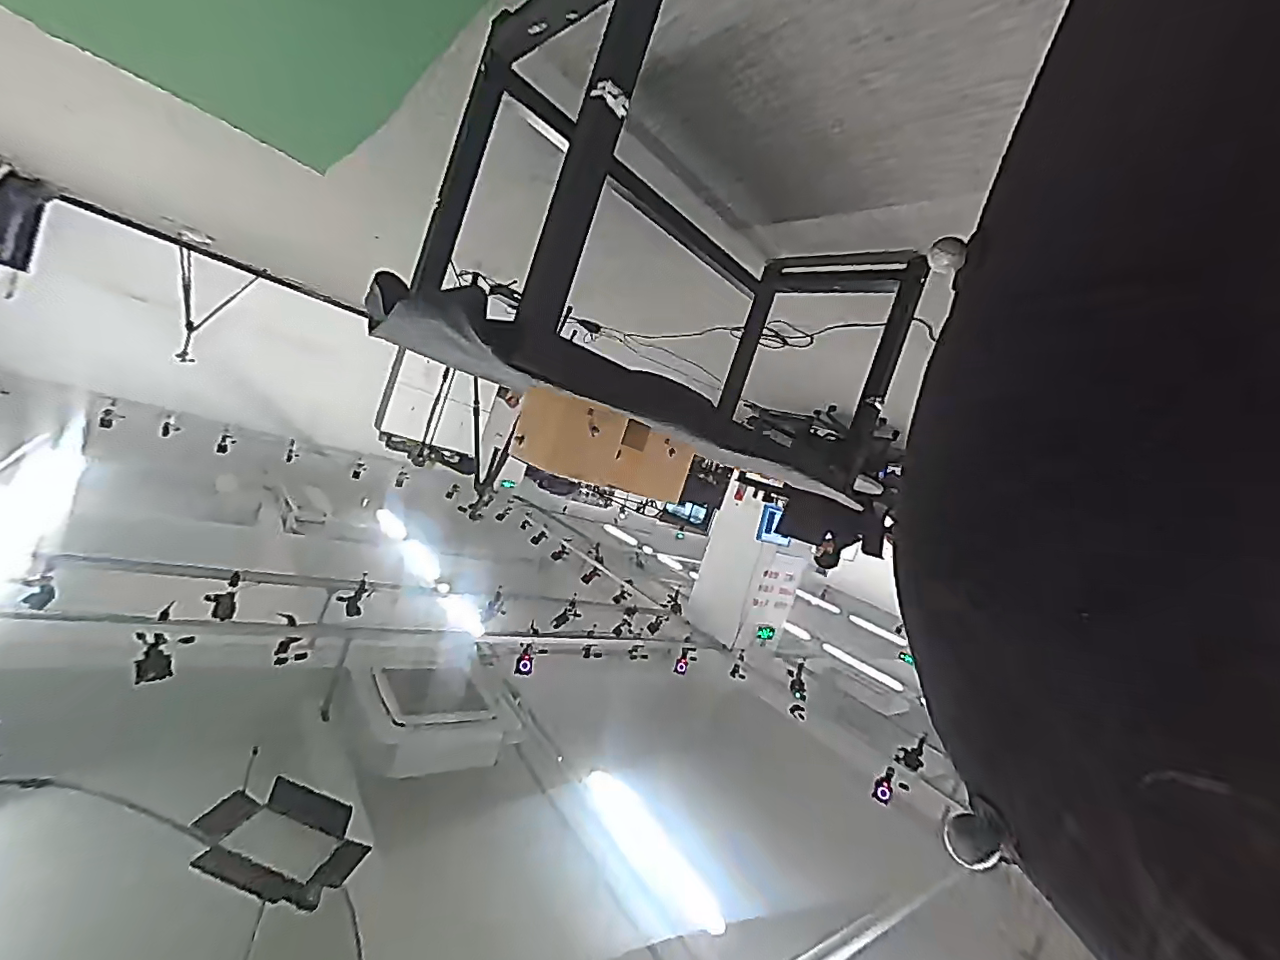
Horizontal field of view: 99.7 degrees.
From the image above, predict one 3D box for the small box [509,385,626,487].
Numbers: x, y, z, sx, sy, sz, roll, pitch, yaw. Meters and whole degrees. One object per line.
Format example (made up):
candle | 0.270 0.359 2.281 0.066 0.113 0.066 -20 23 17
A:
small box | -0.156 -0.102 1.193 0.168 0.176 0.179 16 -176 -42
